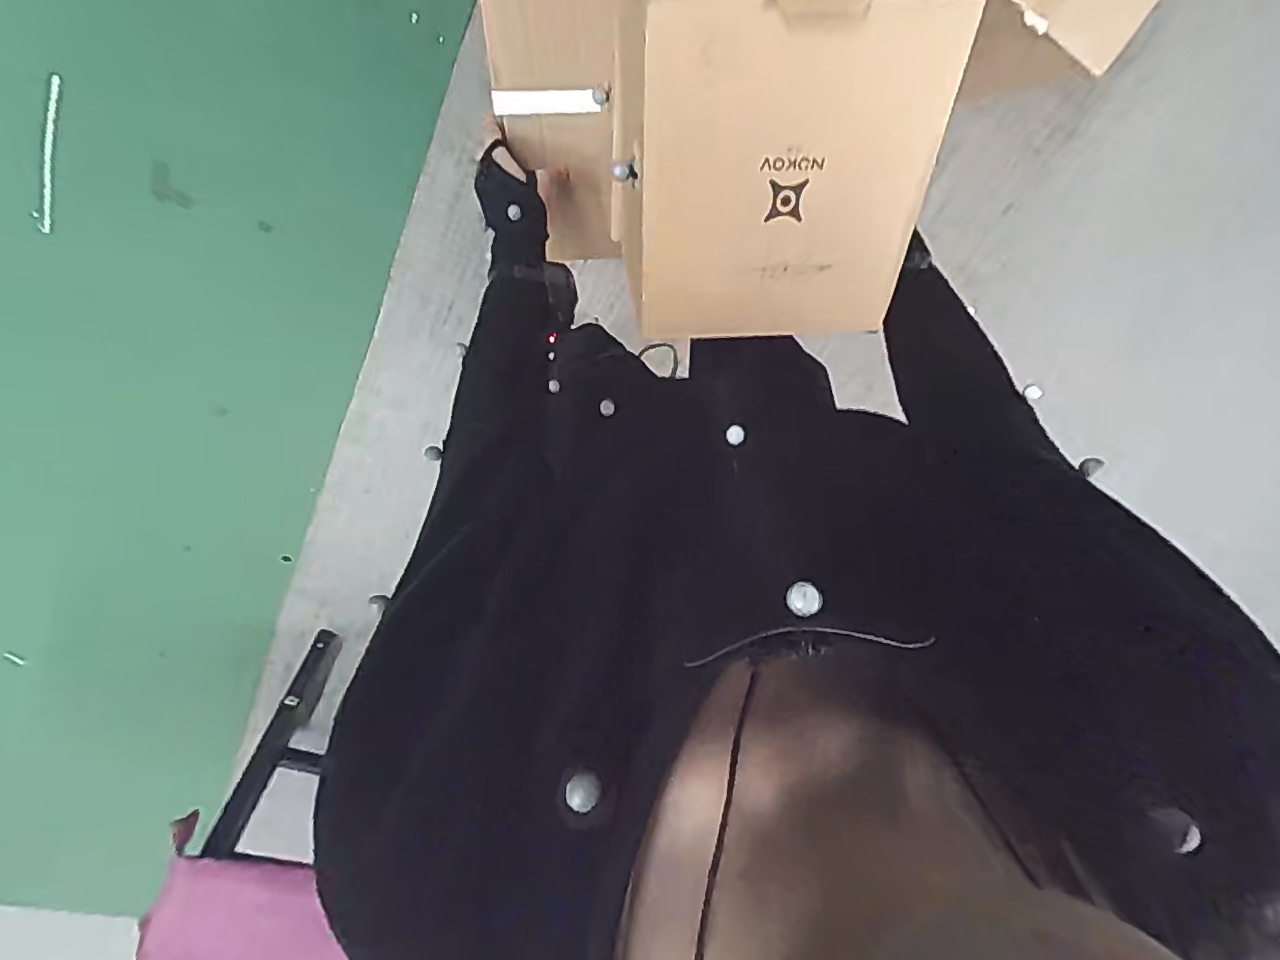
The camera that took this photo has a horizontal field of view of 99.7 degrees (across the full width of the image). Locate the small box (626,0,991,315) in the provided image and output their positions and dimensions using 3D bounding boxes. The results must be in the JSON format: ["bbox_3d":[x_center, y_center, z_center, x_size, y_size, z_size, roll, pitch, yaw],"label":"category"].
[{"bbox_3d":[0.079,-0.228,0.358,0.168,0.176,0.179,-3,132,-5],"label":"small box"}]

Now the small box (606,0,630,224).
[{"bbox_3d":[0.057,-0.339,0.475,0.168,0.176,0.179,-1,132,-7],"label":"small box"}]
